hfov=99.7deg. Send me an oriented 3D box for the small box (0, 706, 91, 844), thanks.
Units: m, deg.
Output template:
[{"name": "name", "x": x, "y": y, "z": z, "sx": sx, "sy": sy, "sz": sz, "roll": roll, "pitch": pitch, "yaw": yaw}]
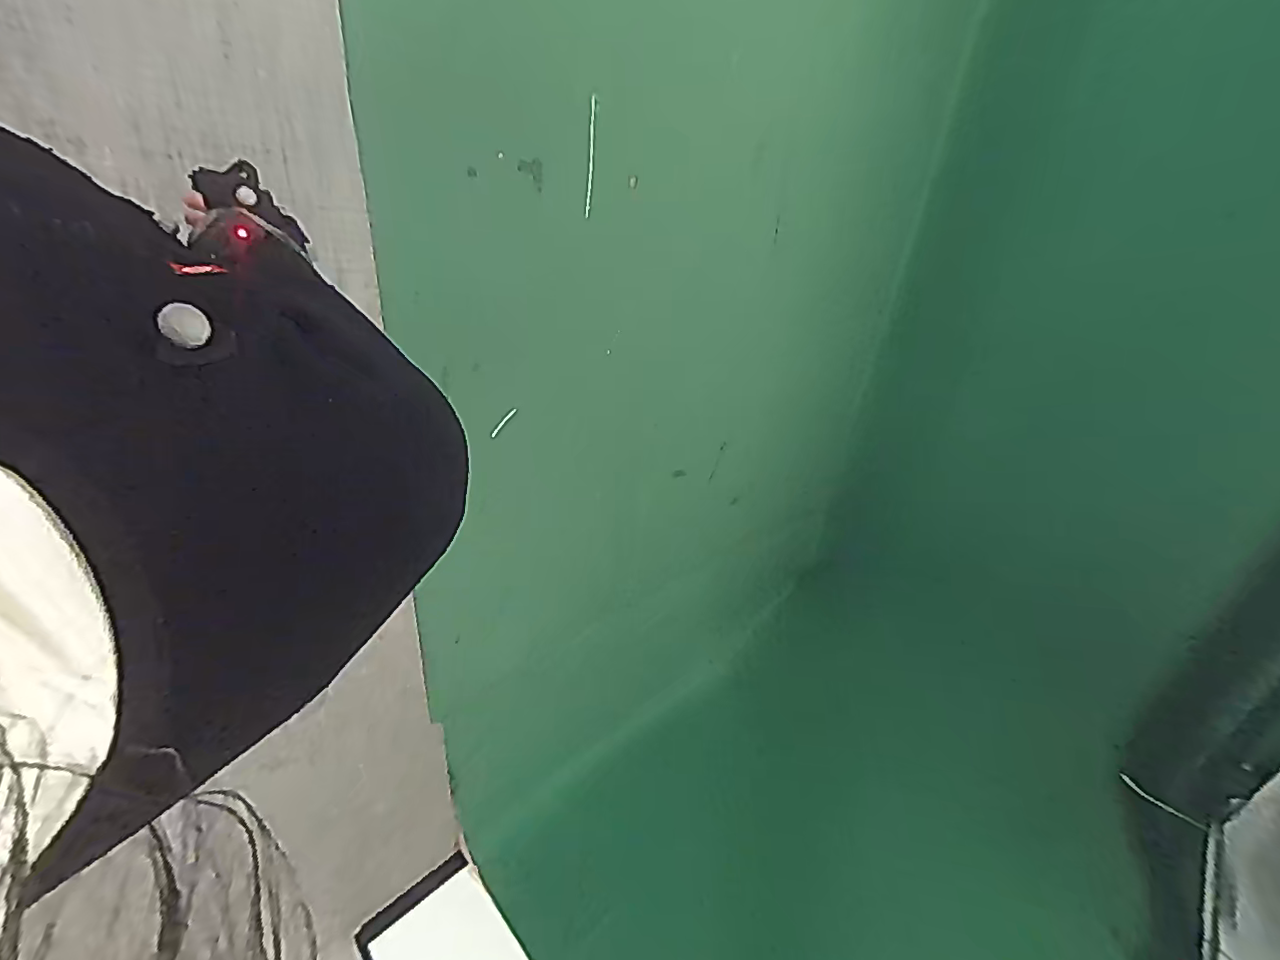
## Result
[{"name": "small box", "x": -1.321, "y": 0.628, "z": 1.155, "sx": 0.179, "sy": 0.176, "sz": 0.168, "roll": -20, "pitch": 128, "yaw": -40}]
